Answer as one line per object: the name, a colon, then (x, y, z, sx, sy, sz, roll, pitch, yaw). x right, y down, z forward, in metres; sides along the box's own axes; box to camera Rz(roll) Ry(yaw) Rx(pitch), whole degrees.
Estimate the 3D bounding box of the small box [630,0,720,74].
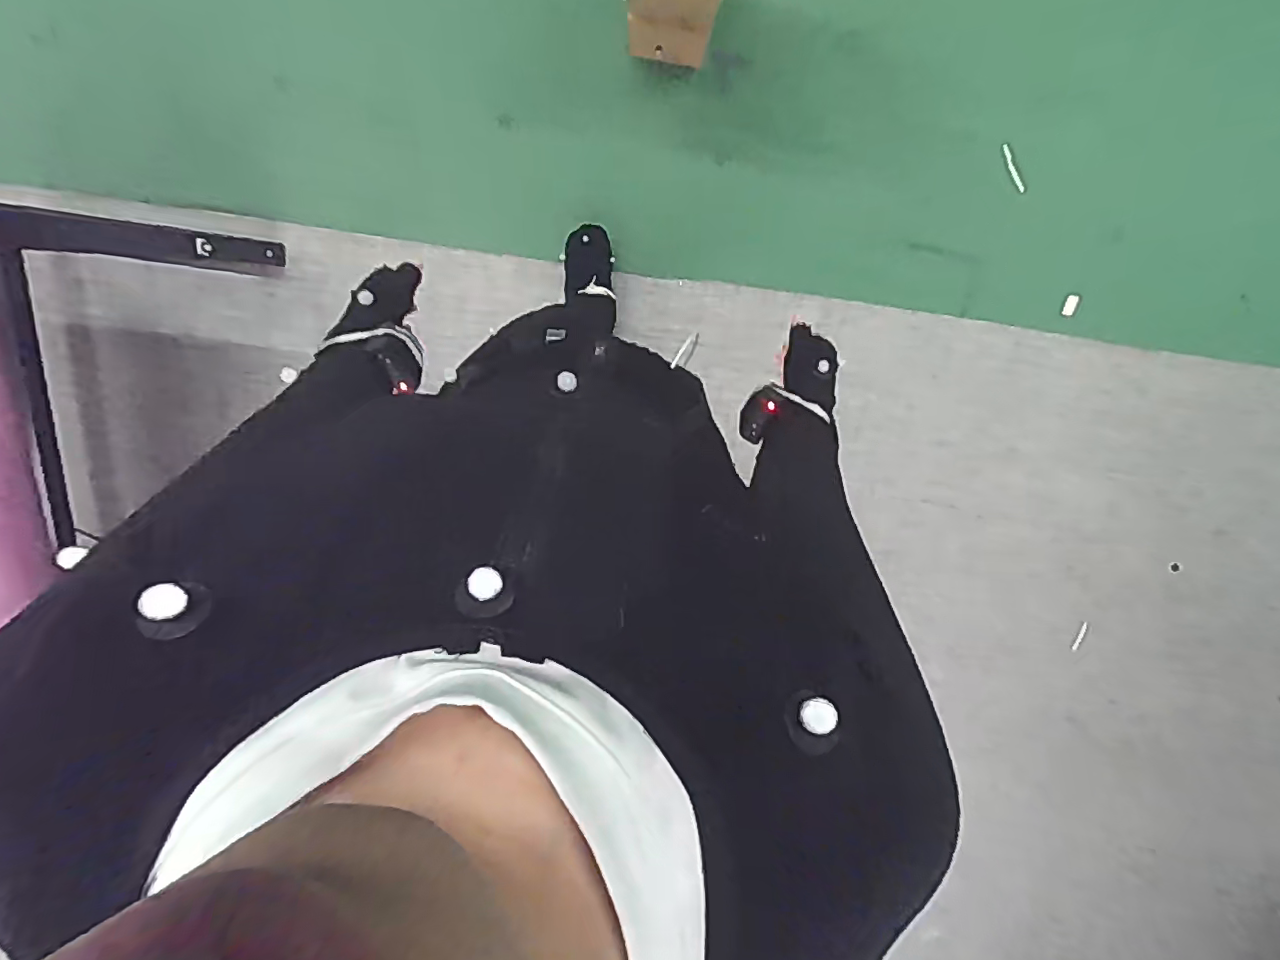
small box: (0.073, -0.969, 1.094, 0.168, 0.176, 0.179, 8, 109, -4)
